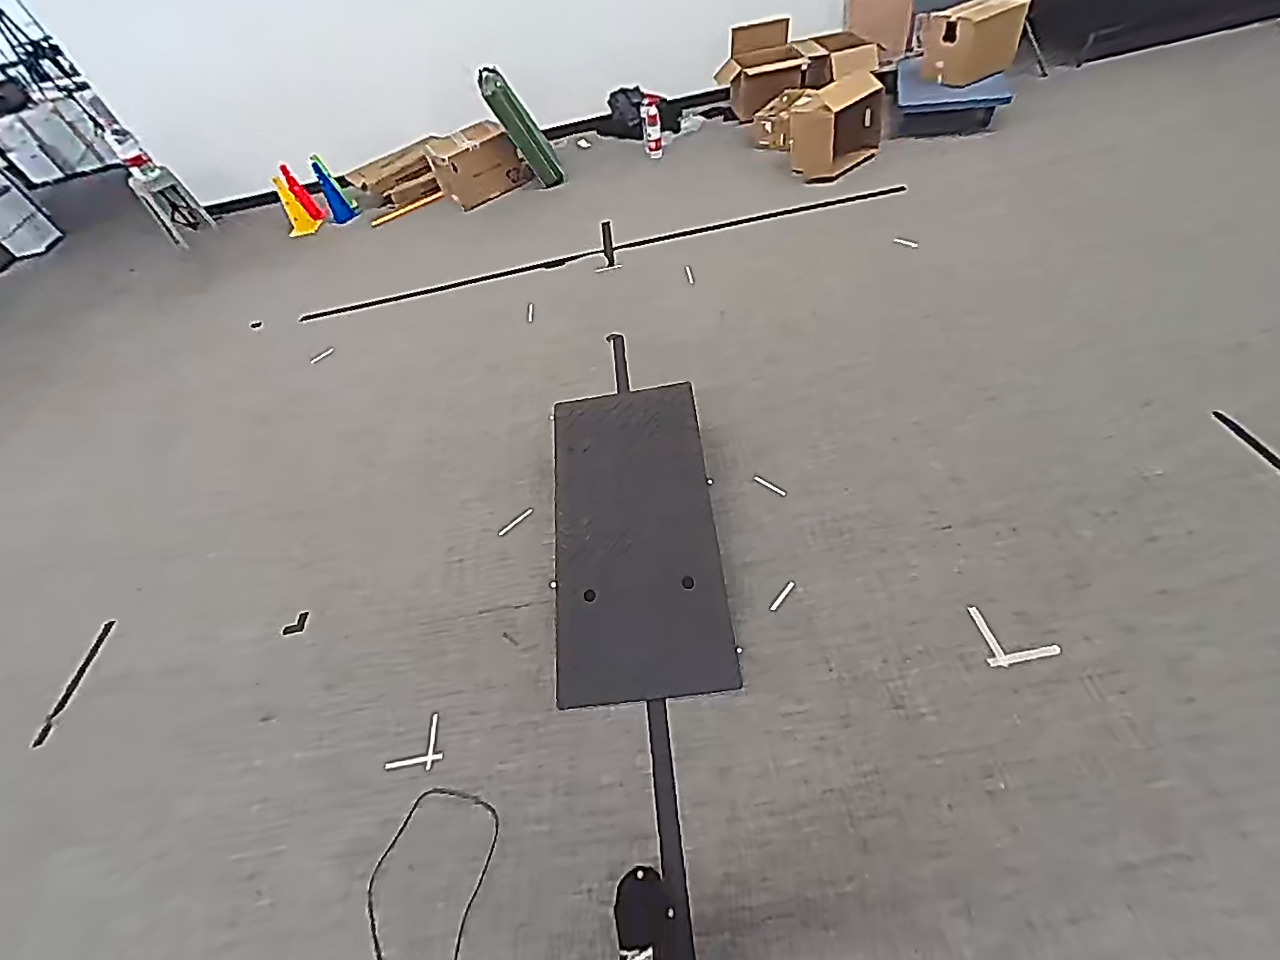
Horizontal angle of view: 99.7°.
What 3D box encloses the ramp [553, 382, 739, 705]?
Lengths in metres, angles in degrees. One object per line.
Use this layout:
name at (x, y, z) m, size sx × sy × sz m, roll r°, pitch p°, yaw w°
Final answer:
ramp at (-0.022, 0.130, 1.653) m, size 0.509 × 0.206 × 0.991 m, roll -9°, pitch 50°, yaw 3°
